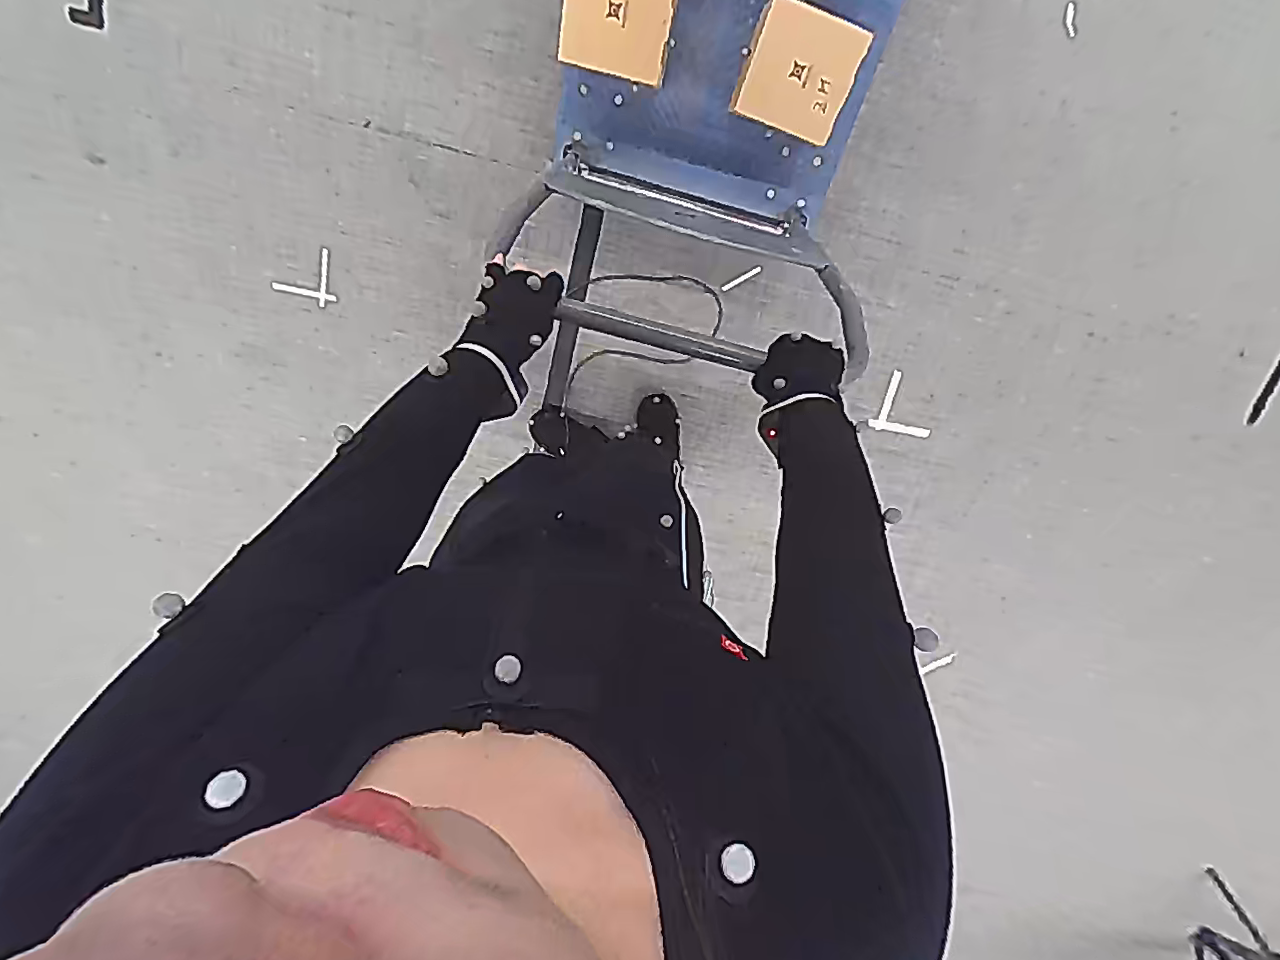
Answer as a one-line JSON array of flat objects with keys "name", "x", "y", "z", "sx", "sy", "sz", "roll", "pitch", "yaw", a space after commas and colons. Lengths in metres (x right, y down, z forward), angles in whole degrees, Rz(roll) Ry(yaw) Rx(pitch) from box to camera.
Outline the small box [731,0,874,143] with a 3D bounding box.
[{"name": "small box", "x": 0.273, "y": -0.722, "z": 0.961, "sx": 0.179, "sy": 0.176, "sz": 0.168, "roll": 17, "pitch": 124, "yaw": -8}]

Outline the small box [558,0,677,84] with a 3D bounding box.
[{"name": "small box", "x": -0.033, "y": -0.799, "z": 0.928, "sx": 0.179, "sy": 0.176, "sz": 0.168, "roll": 11, "pitch": 124, "yaw": -5}]
